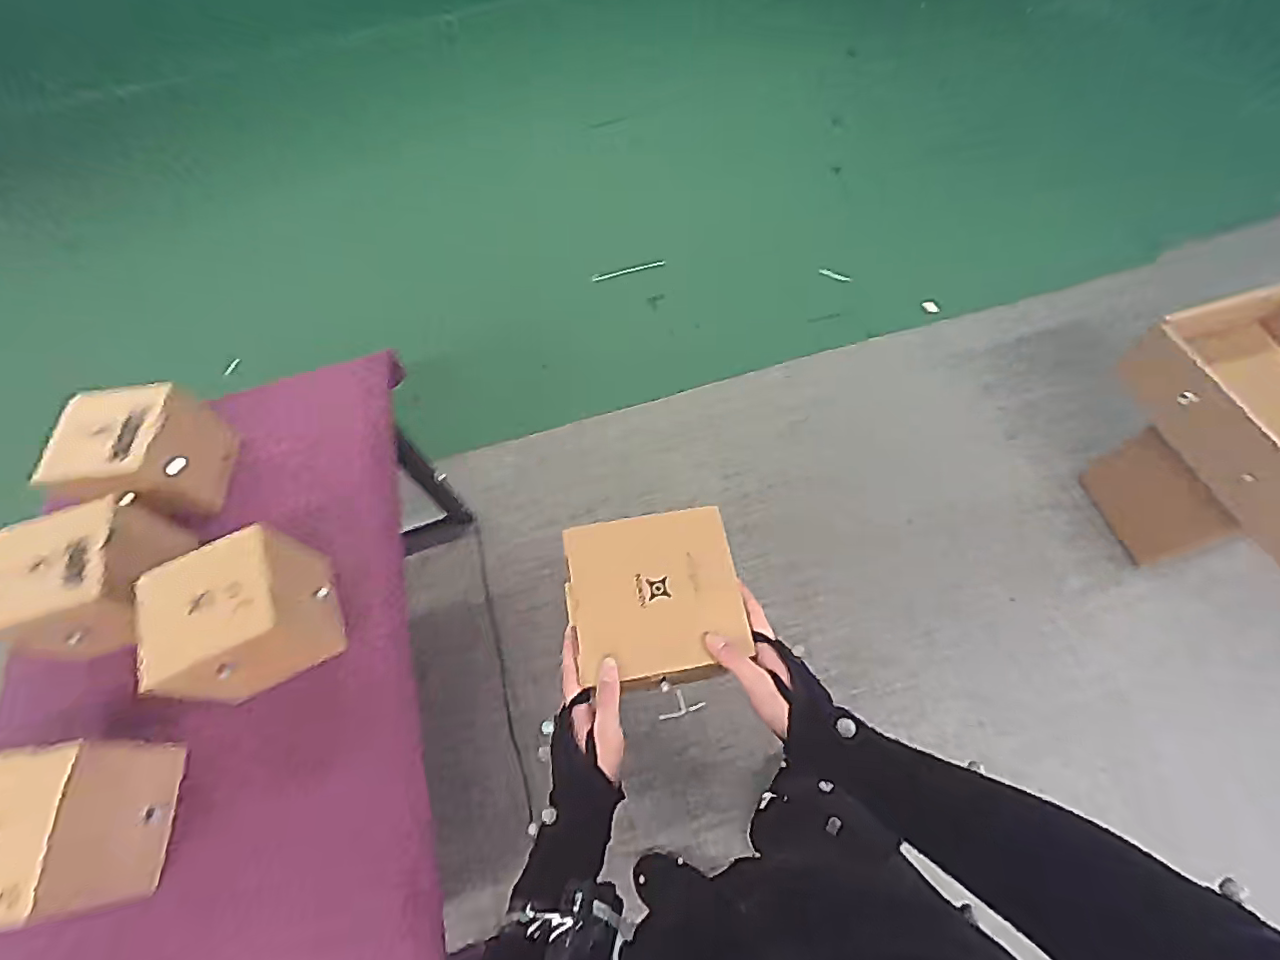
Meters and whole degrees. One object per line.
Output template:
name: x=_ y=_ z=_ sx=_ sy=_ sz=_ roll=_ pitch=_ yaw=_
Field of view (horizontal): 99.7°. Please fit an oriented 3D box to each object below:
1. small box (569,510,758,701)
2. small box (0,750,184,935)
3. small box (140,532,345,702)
small box: x=0.019 y=0.152 z=0.627 sx=0.179 sy=0.176 sz=0.168 roll=-7 pitch=63 yaw=-6
small box: x=-0.734 y=0.454 z=0.682 sx=0.168 sy=0.176 sz=0.179 roll=-10 pitch=61 yaw=0
small box: x=-0.576 y=0.209 z=0.797 sx=0.179 sy=0.176 sz=0.168 roll=-26 pitch=64 yaw=-7
